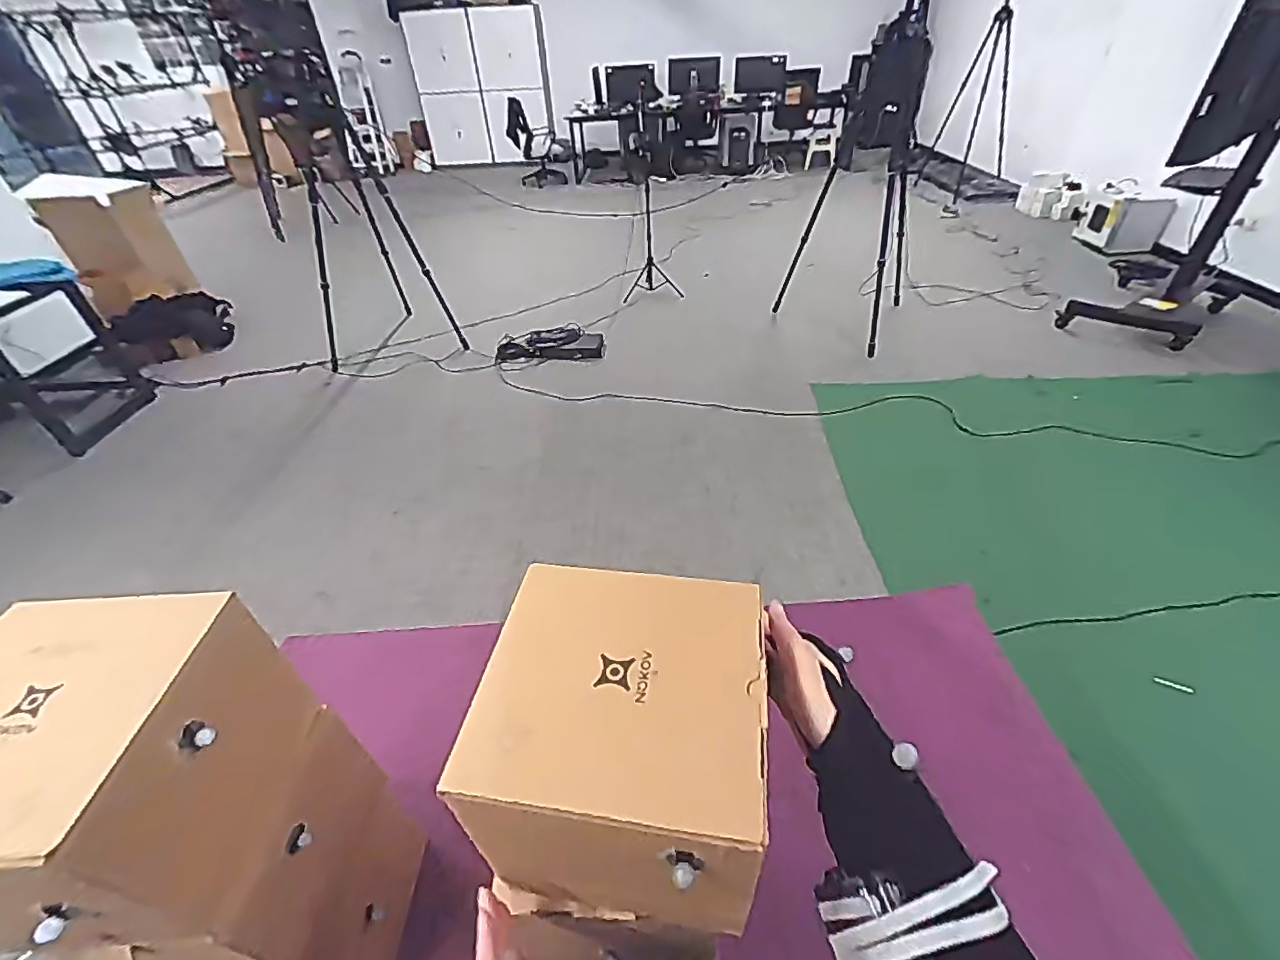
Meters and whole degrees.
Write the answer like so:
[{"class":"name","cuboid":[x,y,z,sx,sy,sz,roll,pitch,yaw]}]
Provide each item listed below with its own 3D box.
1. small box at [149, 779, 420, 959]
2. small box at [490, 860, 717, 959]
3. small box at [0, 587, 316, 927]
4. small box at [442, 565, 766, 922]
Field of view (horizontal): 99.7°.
[{"class":"small box","cuboid":[-0.367,0.453,0.601,0.168,0.176,0.179,0,41,1]},{"class":"small box","cuboid":[-0.020,0.309,0.495,0.168,0.176,0.179,0,40,4]},{"class":"small box","cuboid":[-0.376,0.200,0.392,0.168,0.176,0.179,-1,40,0]},{"class":"small box","cuboid":[-0.007,0.185,0.388,0.179,0.176,0.168,6,40,8]}]
